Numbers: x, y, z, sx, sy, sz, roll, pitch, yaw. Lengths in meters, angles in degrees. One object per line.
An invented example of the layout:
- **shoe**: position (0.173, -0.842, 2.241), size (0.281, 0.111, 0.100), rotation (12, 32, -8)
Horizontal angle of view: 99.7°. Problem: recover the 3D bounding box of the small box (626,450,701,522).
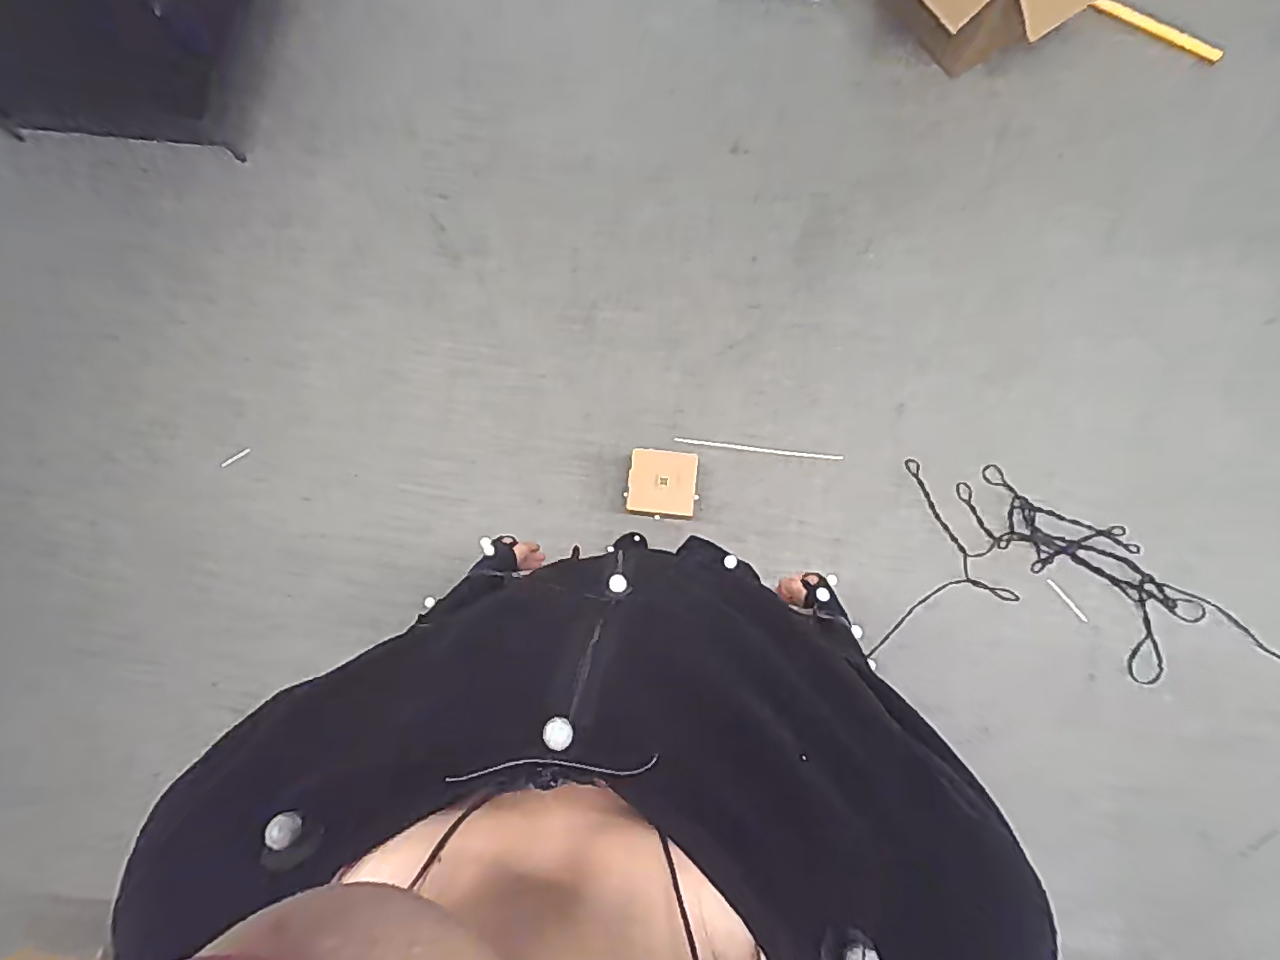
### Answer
- **small box**: position (0.066, 0.022, 1.463), size (0.179, 0.176, 0.168), rotation (6, 82, 4)
